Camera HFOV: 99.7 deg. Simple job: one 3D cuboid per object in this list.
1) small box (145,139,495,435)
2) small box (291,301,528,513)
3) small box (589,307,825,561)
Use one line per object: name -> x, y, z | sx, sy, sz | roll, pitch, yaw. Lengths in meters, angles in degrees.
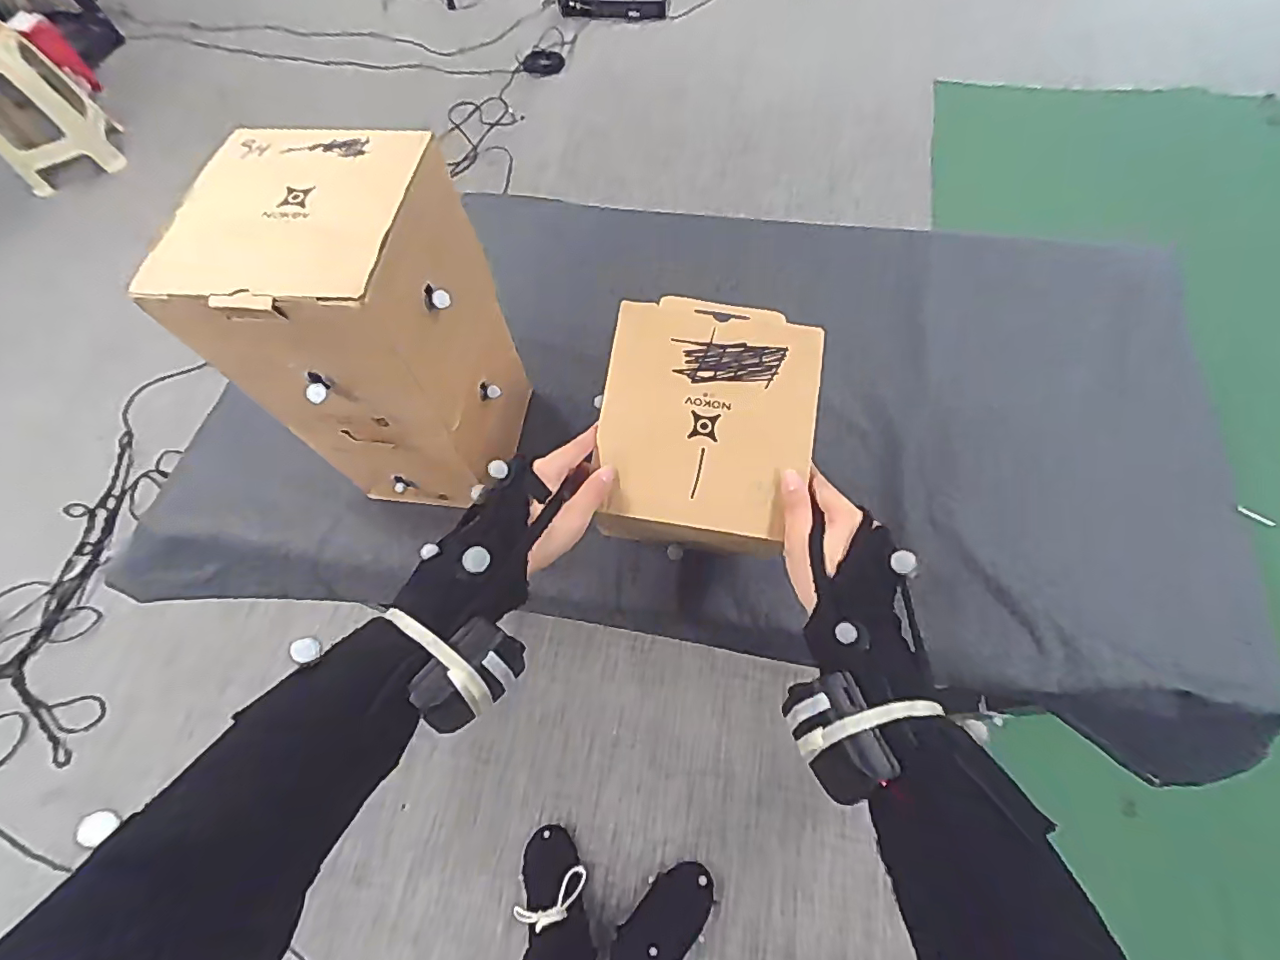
small box -> -0.238, -0.153, 0.459 | 0.168, 0.176, 0.179 | 4, 64, 5
small box -> -0.233, -0.082, 0.606 | 0.168, 0.176, 0.179 | 5, 64, 6
small box -> 0.057, -0.030, 0.498 | 0.168, 0.176, 0.179 | 9, 78, 4
